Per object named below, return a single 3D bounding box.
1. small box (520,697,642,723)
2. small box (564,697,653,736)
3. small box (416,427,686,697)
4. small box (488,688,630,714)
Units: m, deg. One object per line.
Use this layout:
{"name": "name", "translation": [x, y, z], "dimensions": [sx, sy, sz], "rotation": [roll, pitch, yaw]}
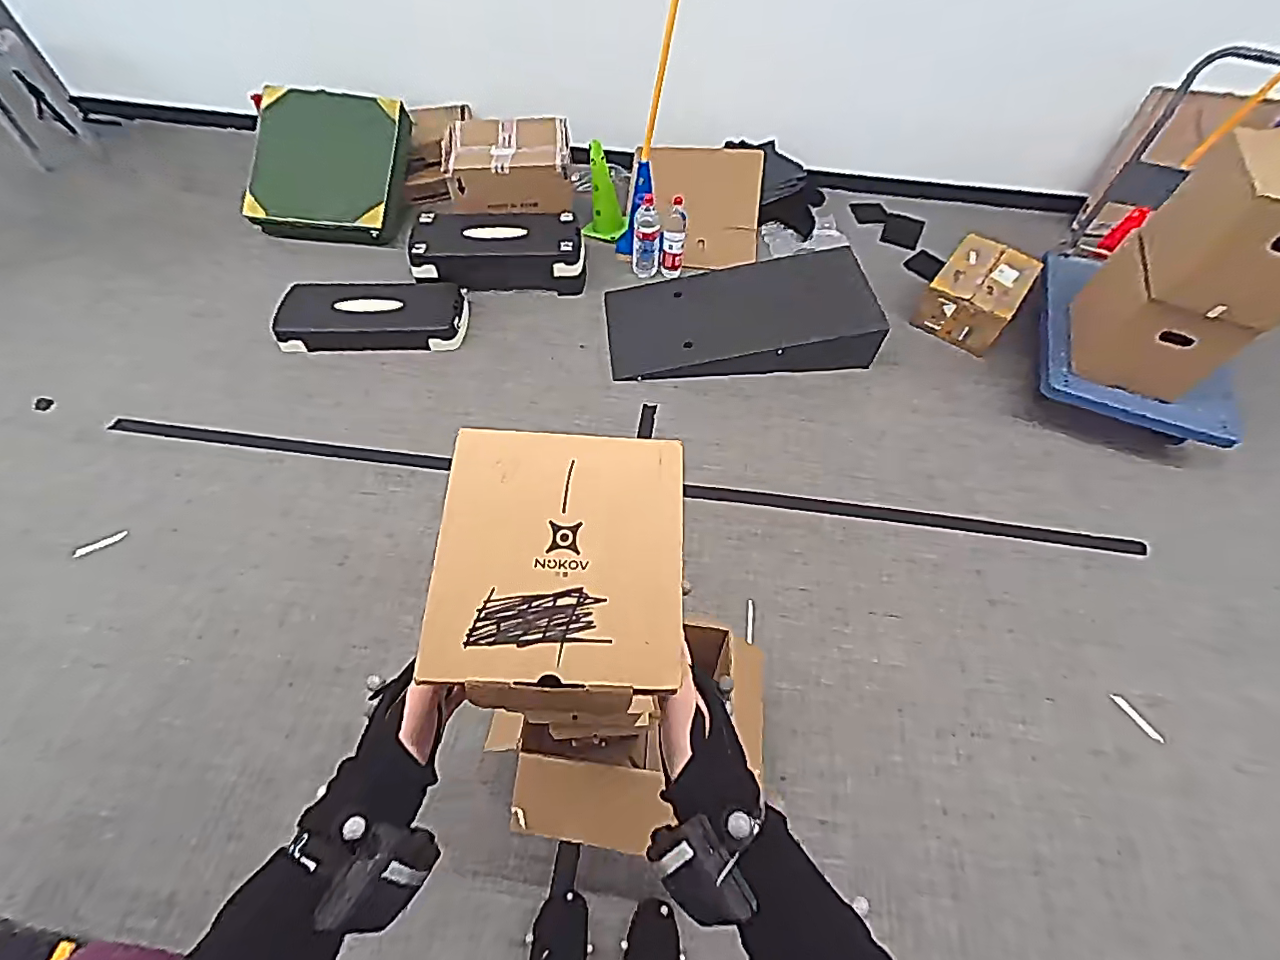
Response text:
{"name": "small box", "translation": [-0.087, 0.287, 0.854], "dimensions": [0.179, 0.176, 0.168], "rotation": [4, 61, -4]}
{"name": "small box", "translation": [-0.081, 0.435, 1.150], "dimensions": [0.179, 0.176, 0.168], "rotation": [-8, 61, -11]}
{"name": "small box", "translation": [-0.057, 0.076, 0.436], "dimensions": [0.168, 0.176, 0.179], "rotation": [4, 68, -3]}
{"name": "small box", "translation": [-0.092, 0.205, 0.713], "dimensions": [0.168, 0.176, 0.179], "rotation": [5, 60, -4]}
